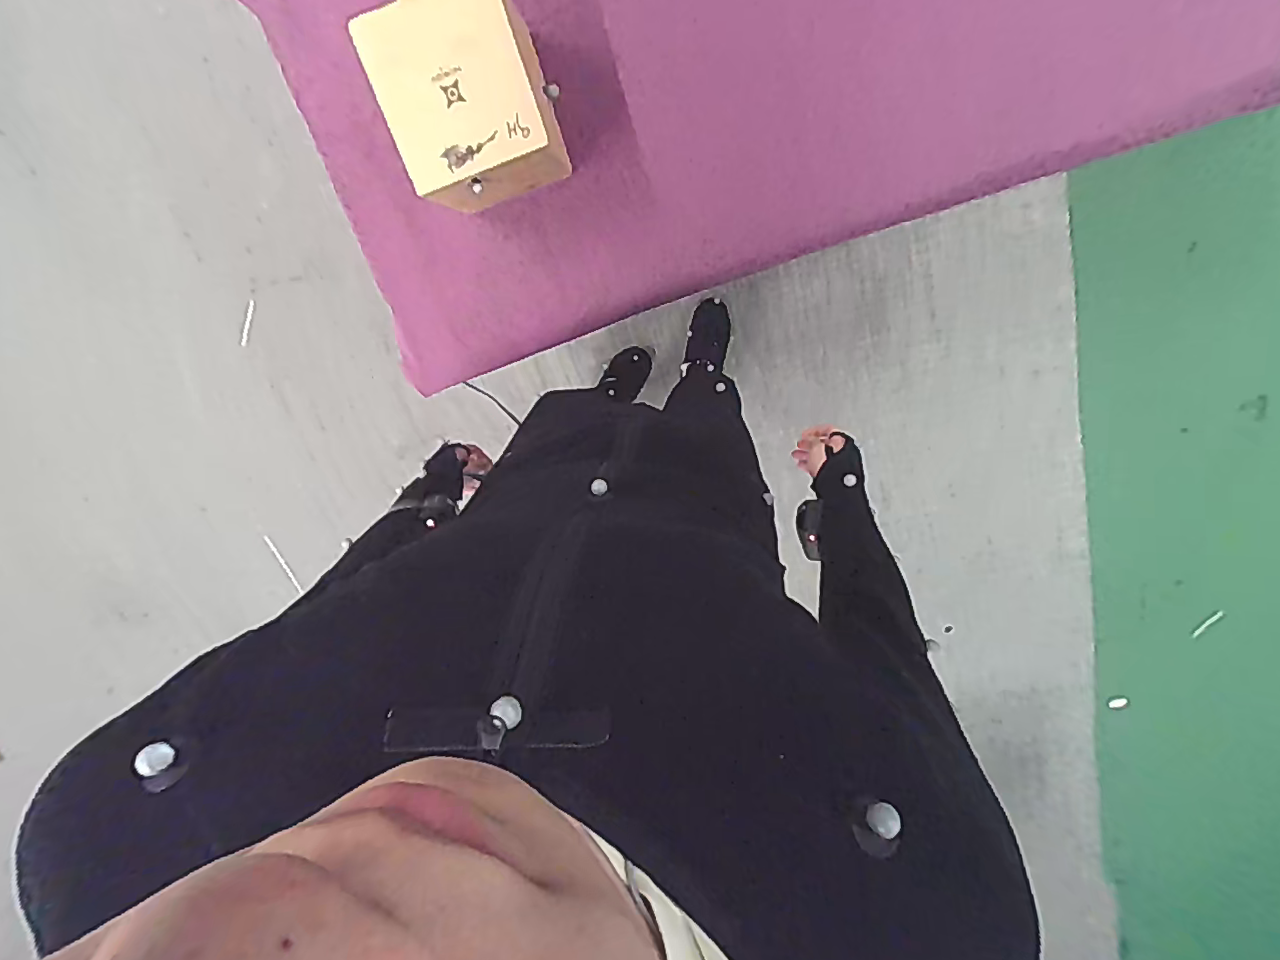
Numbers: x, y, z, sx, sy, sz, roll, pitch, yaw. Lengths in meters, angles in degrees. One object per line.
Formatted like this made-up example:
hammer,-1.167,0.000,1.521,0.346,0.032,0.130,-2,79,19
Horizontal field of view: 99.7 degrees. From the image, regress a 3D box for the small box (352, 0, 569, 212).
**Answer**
small box,-0.199,-0.451,0.657,0.168,0.176,0.179,-16,107,8
